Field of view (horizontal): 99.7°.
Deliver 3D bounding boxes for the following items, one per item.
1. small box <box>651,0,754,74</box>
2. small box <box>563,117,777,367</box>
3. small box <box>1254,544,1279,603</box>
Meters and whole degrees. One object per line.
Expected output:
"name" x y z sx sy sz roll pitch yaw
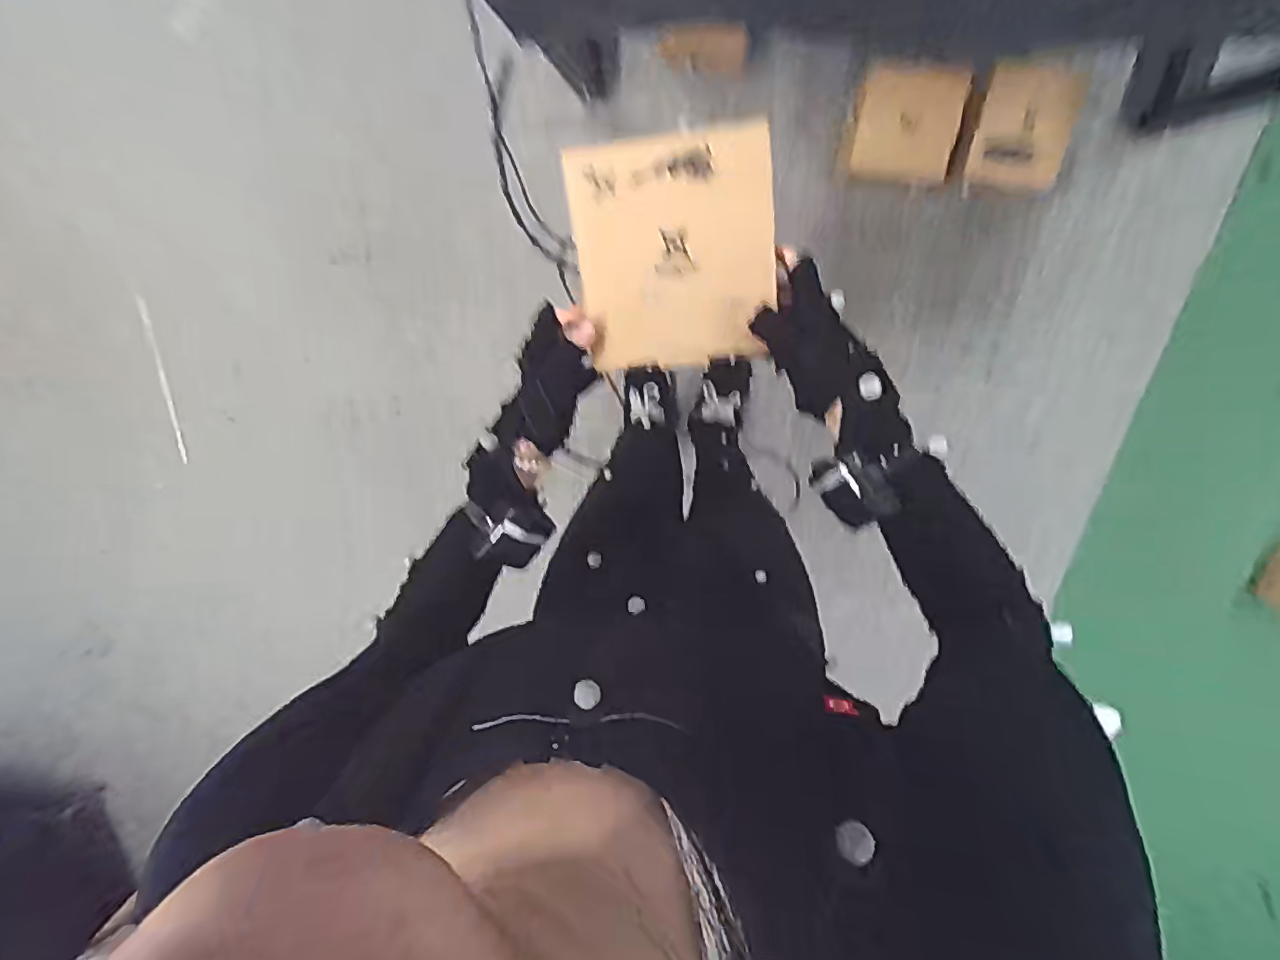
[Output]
"small box" 0.124 -0.893 0.995 0.168 0.176 0.179 14 112 2
"small box" 0.033 -0.216 0.518 0.168 0.176 0.179 -6 110 4
"small box" 1.646 0.240 1.278 0.179 0.176 0.168 5 113 4
